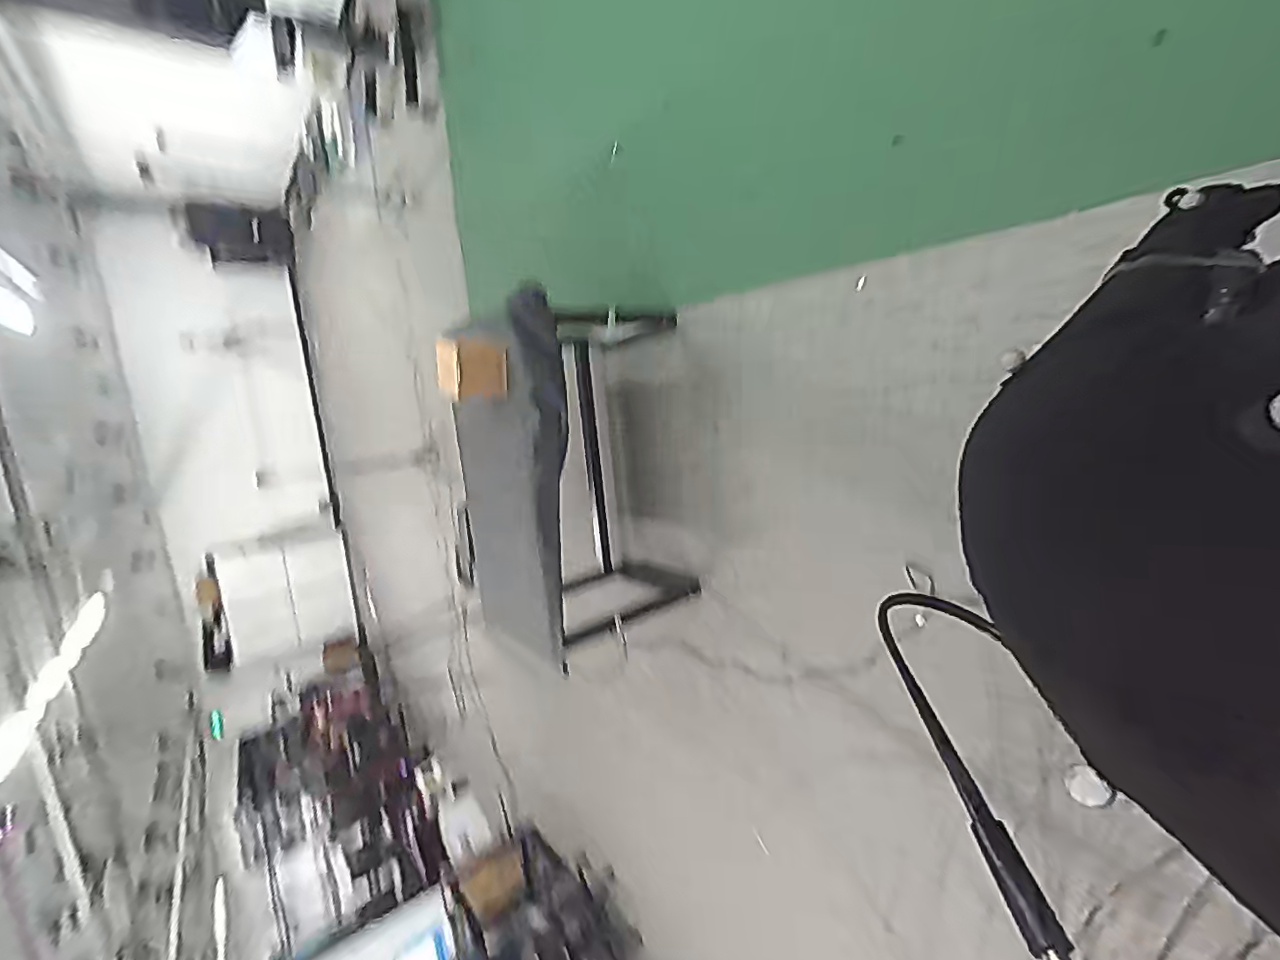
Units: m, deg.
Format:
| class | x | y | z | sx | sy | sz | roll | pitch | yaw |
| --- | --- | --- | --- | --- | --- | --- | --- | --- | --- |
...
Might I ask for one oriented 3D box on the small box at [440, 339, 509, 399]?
| class | x | y | z | sx | sy | sz | roll | pitch | yaw |
| --- | --- | --- | --- | --- | --- | --- | --- | --- | --- |
| small box | -0.536 | -0.369 | 1.767 | 0.179 | 0.176 | 0.168 | 27 | 120 | 48 |
